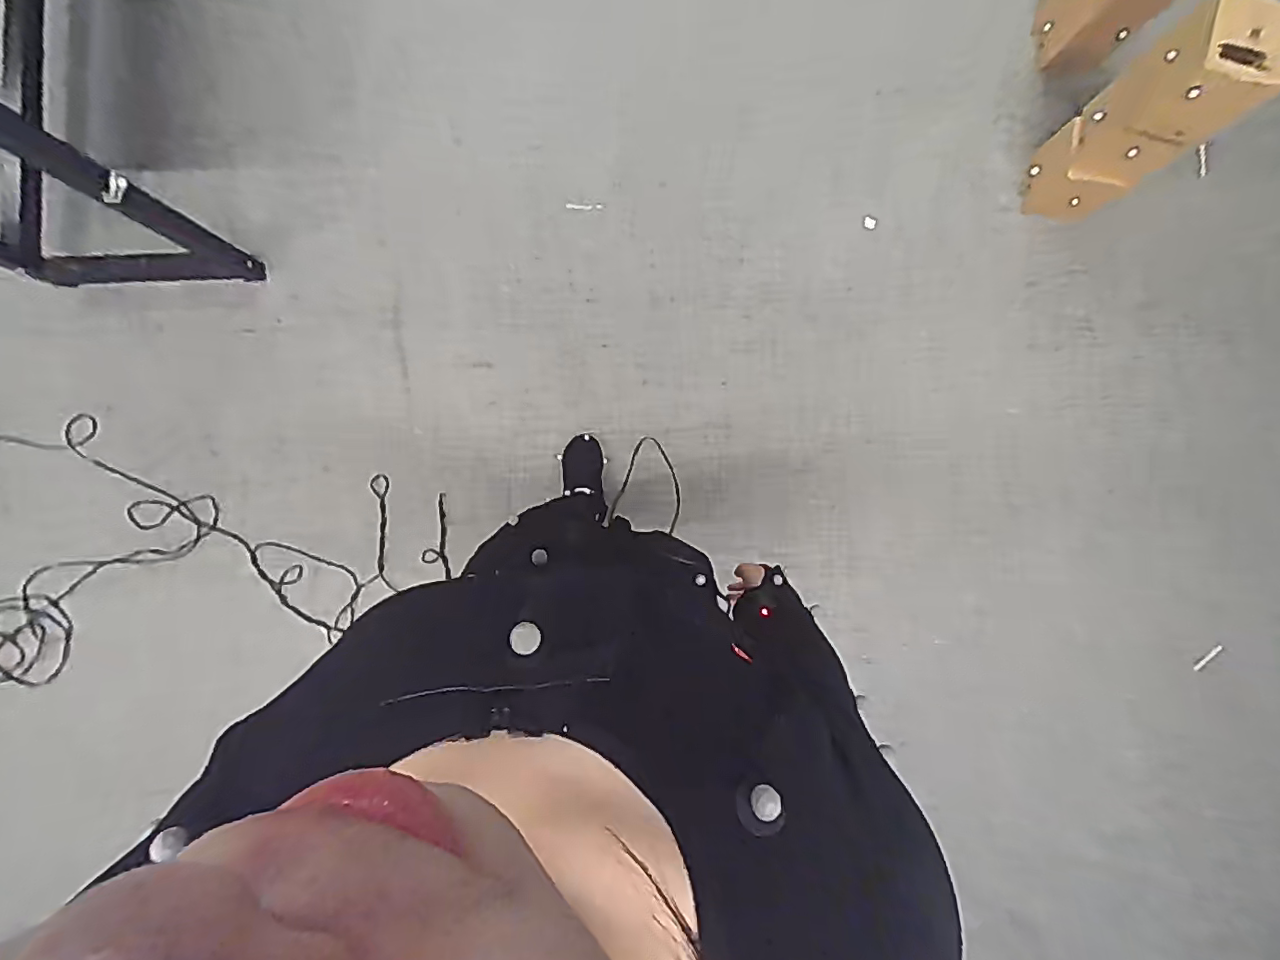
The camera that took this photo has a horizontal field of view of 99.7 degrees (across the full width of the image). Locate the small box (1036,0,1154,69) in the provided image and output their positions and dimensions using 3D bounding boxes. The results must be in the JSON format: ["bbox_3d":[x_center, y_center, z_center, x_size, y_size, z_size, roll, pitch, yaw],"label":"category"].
[{"bbox_3d":[1.215,-1.250,1.453,0.179,0.176,0.168,-5,88,-1],"label":"small box"}]

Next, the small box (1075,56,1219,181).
[{"bbox_3d":[1.188,-0.846,1.282,0.179,0.176,0.168,13,89,0],"label":"small box"}]

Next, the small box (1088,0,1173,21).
[{"bbox_3d":[1.223,-1.248,1.291,0.179,0.176,0.168,-5,88,-1],"label":"small box"}]

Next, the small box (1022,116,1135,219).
[{"bbox_3d":[1.173,-0.824,1.444,0.179,0.176,0.168,9,88,0],"label":"small box"}]
